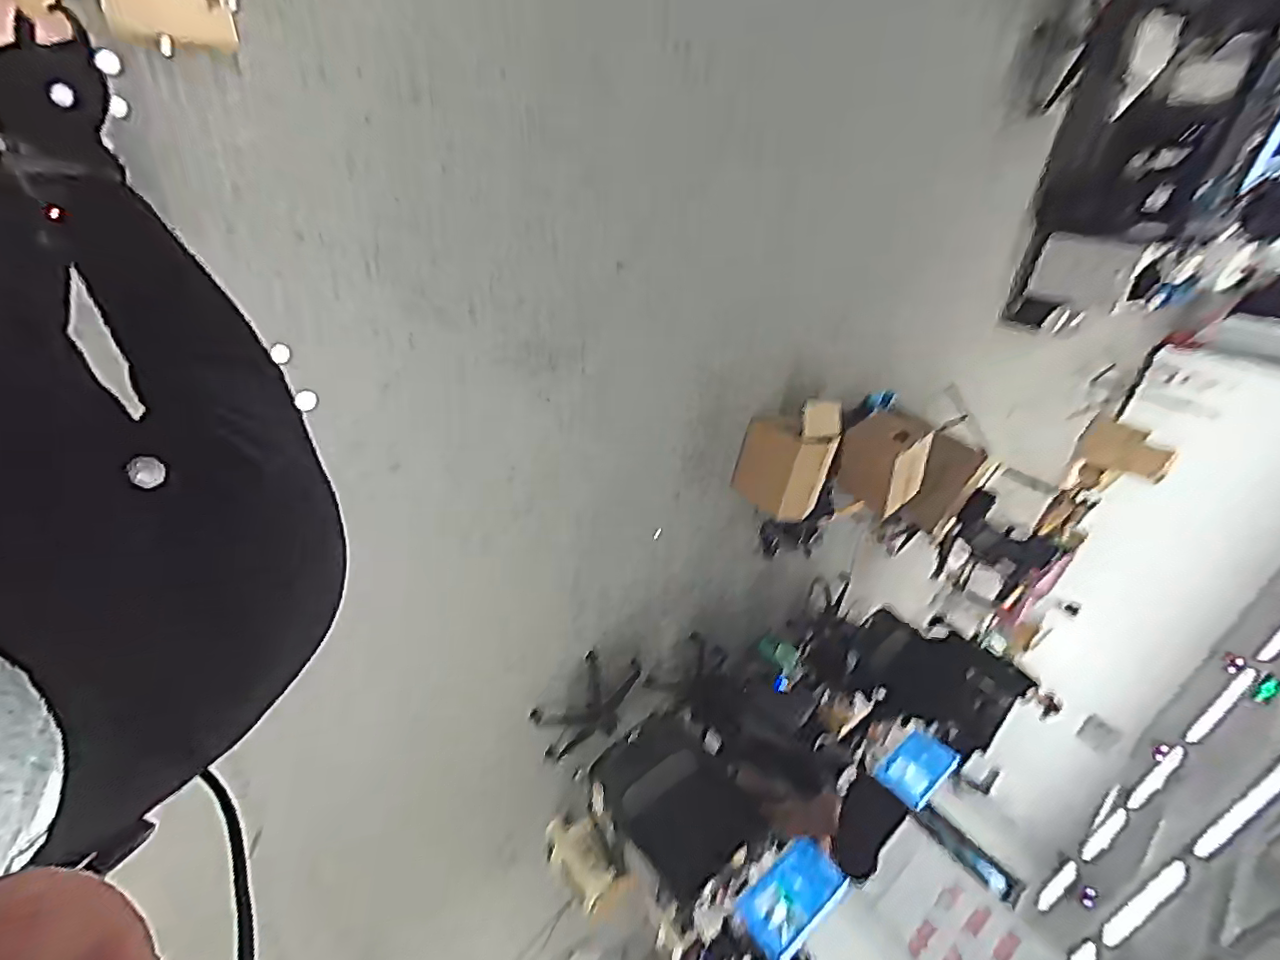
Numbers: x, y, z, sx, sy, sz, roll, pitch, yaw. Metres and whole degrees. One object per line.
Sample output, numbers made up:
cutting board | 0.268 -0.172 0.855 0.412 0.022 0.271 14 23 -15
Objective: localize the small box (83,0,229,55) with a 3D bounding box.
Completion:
small box | -0.809 -0.817 0.885 0.179 0.176 0.168 -19 127 -33
